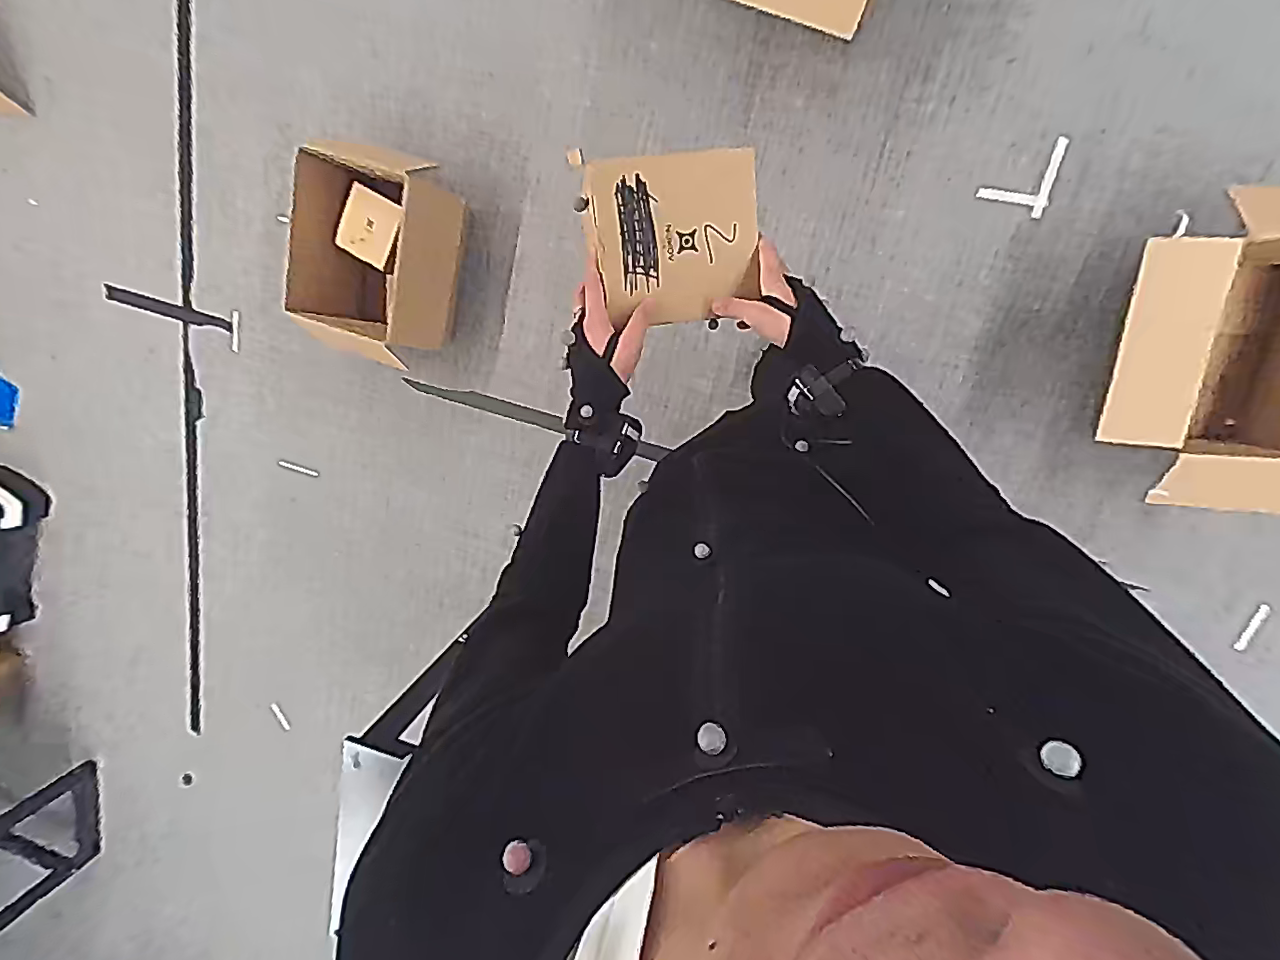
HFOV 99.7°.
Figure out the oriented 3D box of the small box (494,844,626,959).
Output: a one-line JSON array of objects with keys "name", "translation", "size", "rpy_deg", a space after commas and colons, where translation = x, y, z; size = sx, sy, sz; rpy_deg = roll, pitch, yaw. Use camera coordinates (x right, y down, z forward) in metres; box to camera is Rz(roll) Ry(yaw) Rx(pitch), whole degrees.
[{"name": "small box", "translation": [-0.151, 0.864, 1.058], "size": [0.179, 0.176, 0.168], "rpy_deg": [28, 109, 3]}]
